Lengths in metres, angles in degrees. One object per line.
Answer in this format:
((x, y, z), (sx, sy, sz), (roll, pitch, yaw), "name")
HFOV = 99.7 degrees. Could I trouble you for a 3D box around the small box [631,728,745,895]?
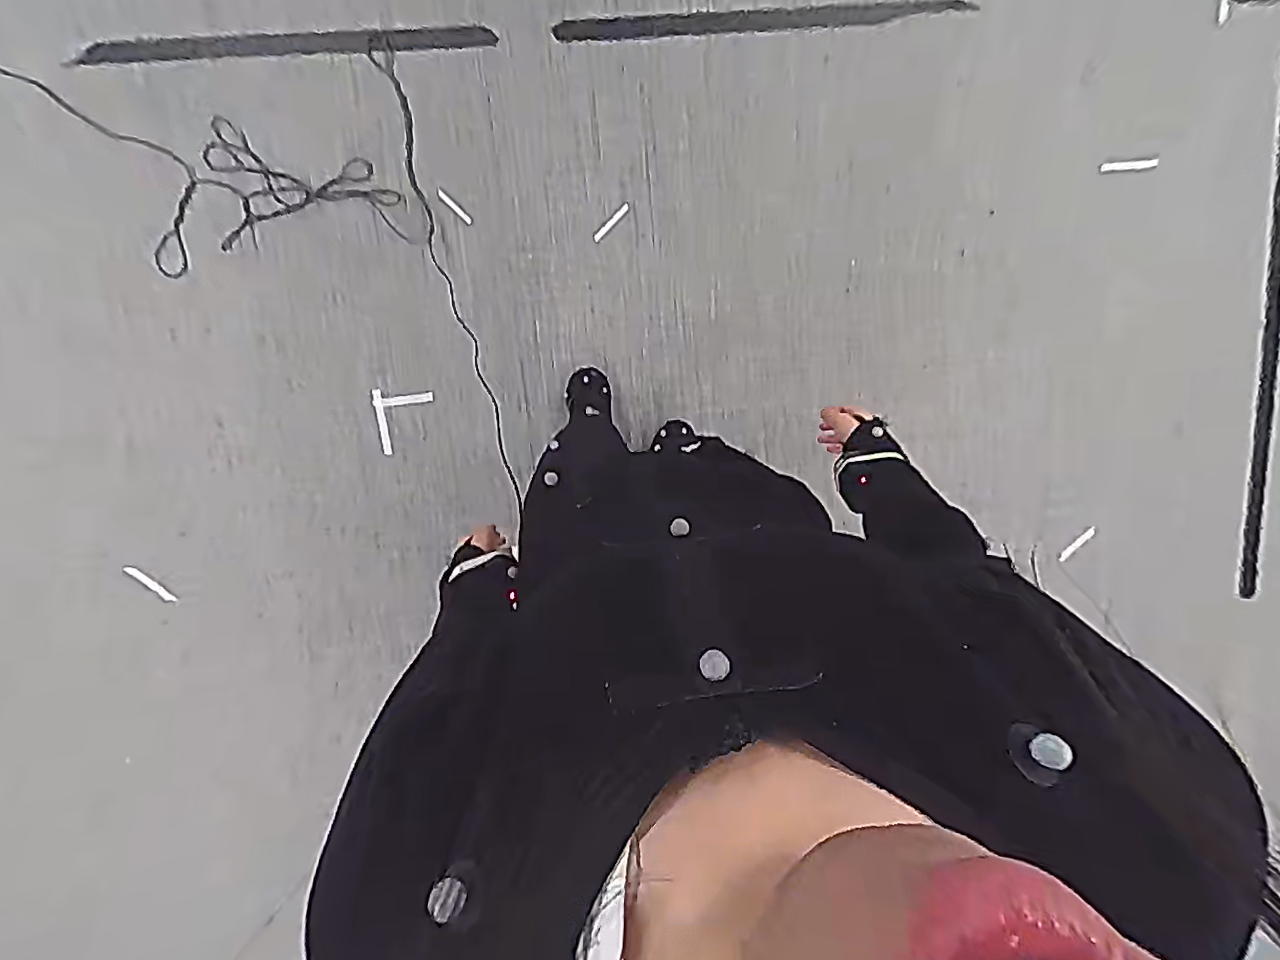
((0.069, 0.528, 0.883), (0.168, 0.176, 0.179), (0, 99, -2), "small box")
